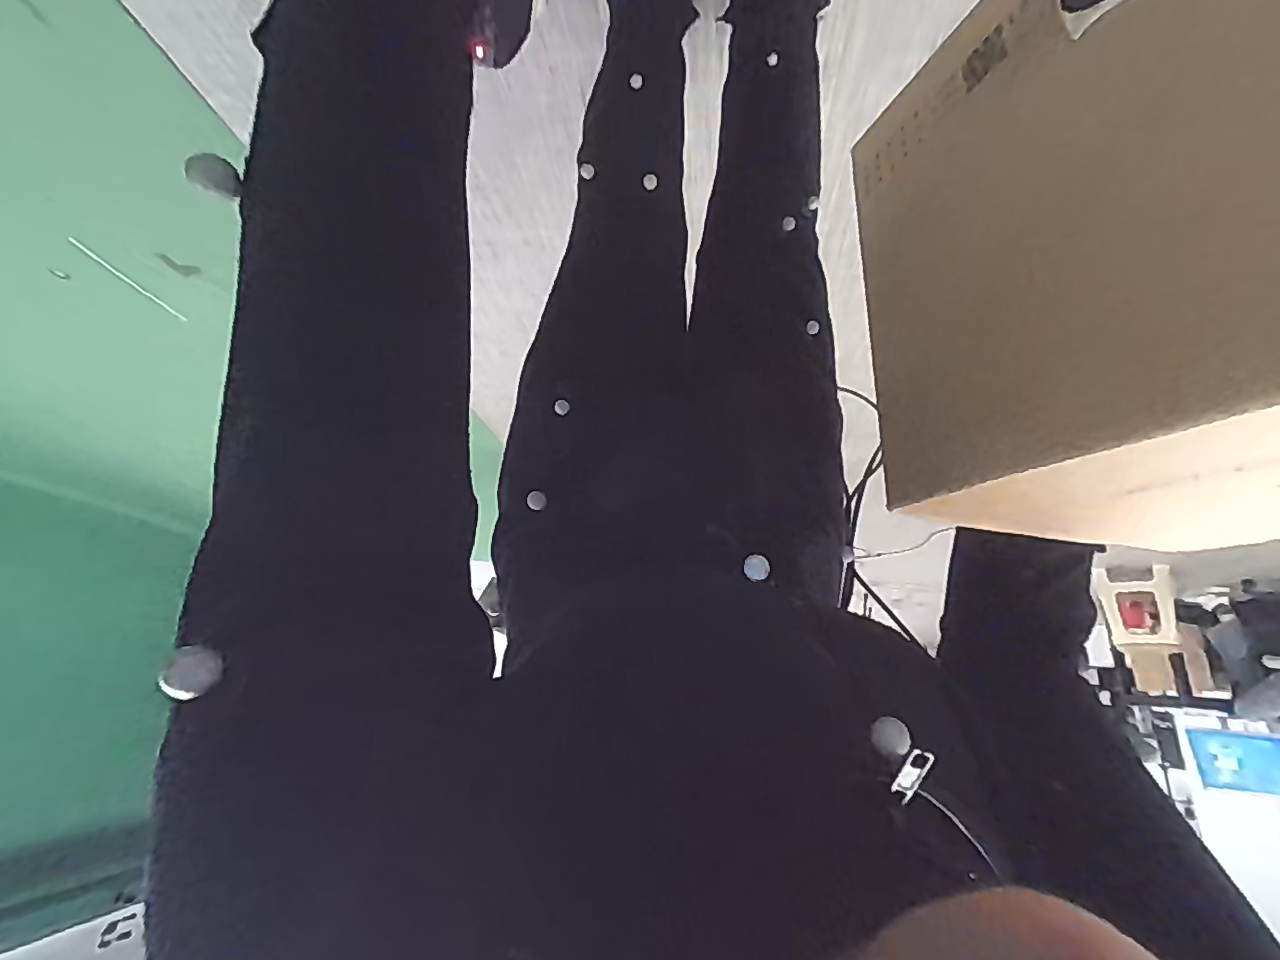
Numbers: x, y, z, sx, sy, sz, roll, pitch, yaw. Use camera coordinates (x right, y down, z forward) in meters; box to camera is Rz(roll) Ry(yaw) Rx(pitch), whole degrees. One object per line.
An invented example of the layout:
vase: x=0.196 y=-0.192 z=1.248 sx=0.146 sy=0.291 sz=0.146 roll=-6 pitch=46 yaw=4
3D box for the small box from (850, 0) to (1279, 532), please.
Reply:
small box: x=0.195 y=-0.086 z=0.175 sx=0.179 sy=0.176 sz=0.168 roll=8 pitch=161 yaw=-18
